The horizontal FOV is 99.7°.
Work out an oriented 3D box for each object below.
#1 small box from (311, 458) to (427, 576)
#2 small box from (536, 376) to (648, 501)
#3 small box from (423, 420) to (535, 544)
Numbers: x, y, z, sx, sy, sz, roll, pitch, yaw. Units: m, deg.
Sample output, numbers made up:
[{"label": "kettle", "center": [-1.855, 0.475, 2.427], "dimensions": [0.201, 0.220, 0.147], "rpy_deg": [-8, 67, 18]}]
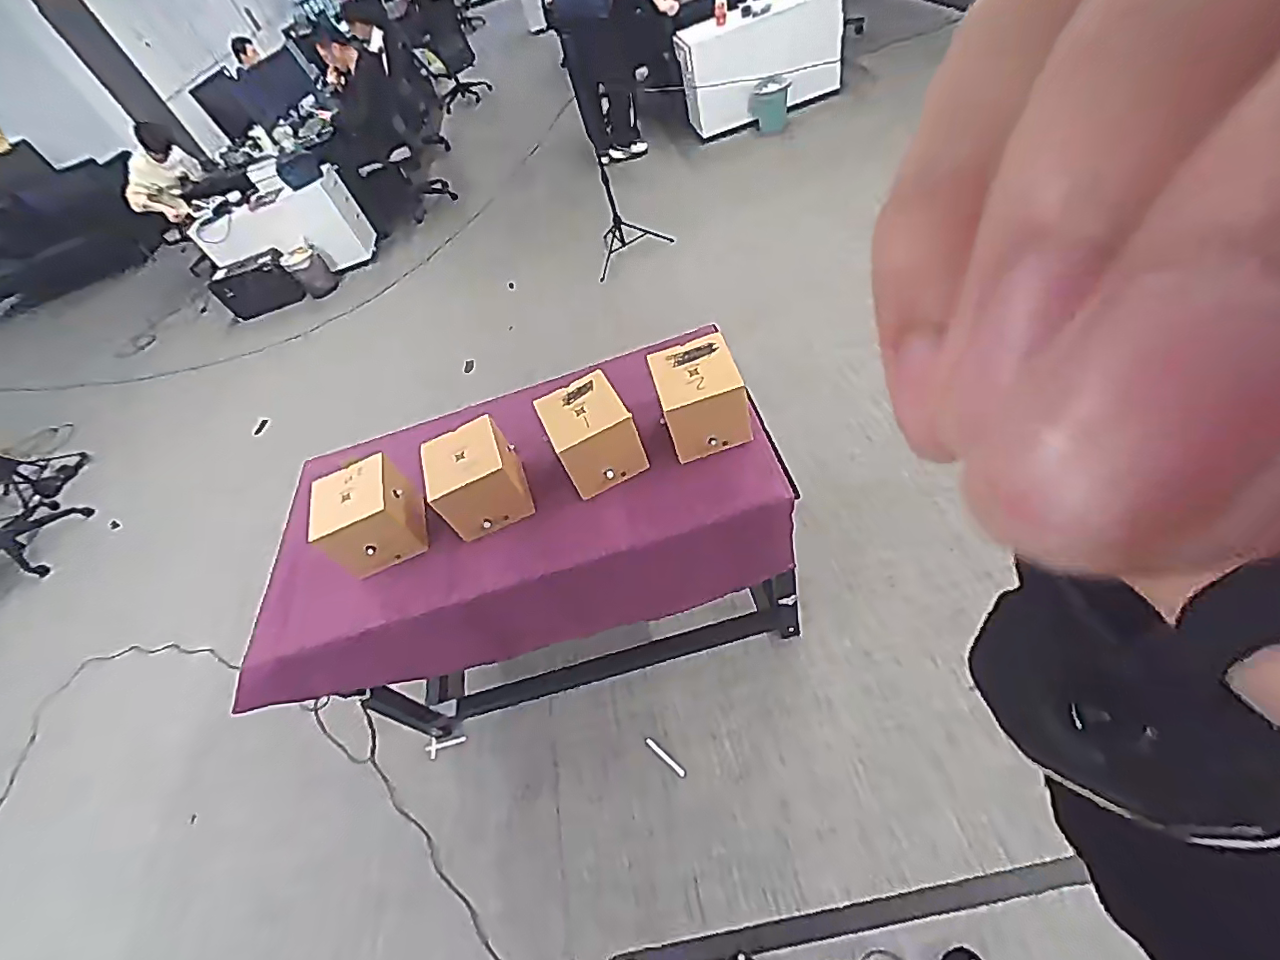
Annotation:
[{"label": "small box", "center": [-0.590, 0.091, 1.195], "dimensions": [0.168, 0.176, 0.179], "rpy_deg": [-24, 49, -2]}, {"label": "small box", "center": [-0.102, -0.088, 1.176], "dimensions": [0.168, 0.176, 0.179], "rpy_deg": [-27, 50, -4]}, {"label": "small box", "center": [-0.351, 0.007, 1.184], "dimensions": [0.168, 0.176, 0.179], "rpy_deg": [-26, 49, -1]}]
